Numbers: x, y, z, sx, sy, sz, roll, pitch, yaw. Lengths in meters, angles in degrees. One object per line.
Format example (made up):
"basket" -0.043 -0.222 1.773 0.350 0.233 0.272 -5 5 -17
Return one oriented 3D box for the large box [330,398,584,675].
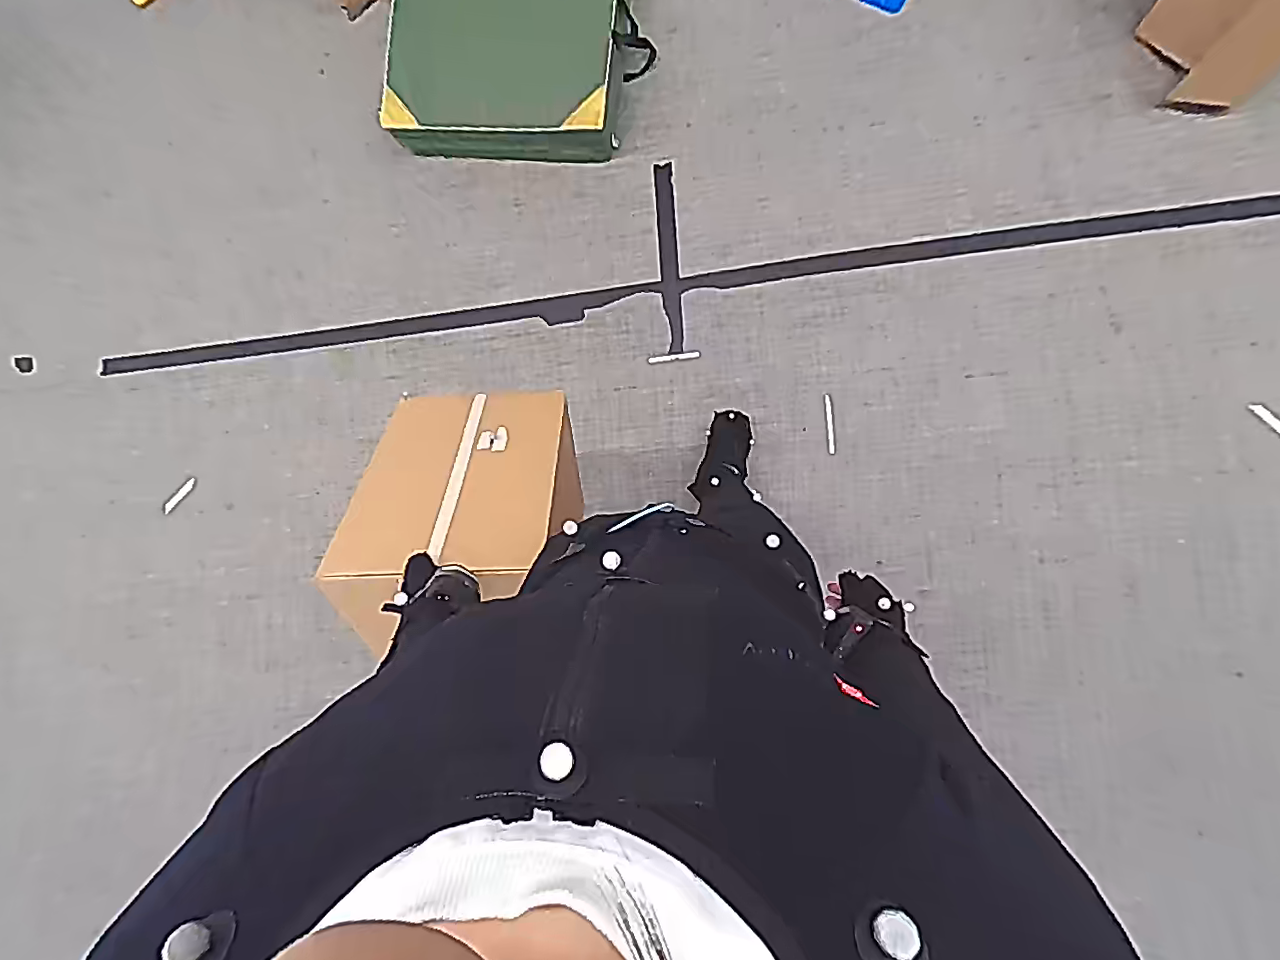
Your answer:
"large box" -0.282 0.097 0.994 0.320 0.320 0.408 -2 44 1
